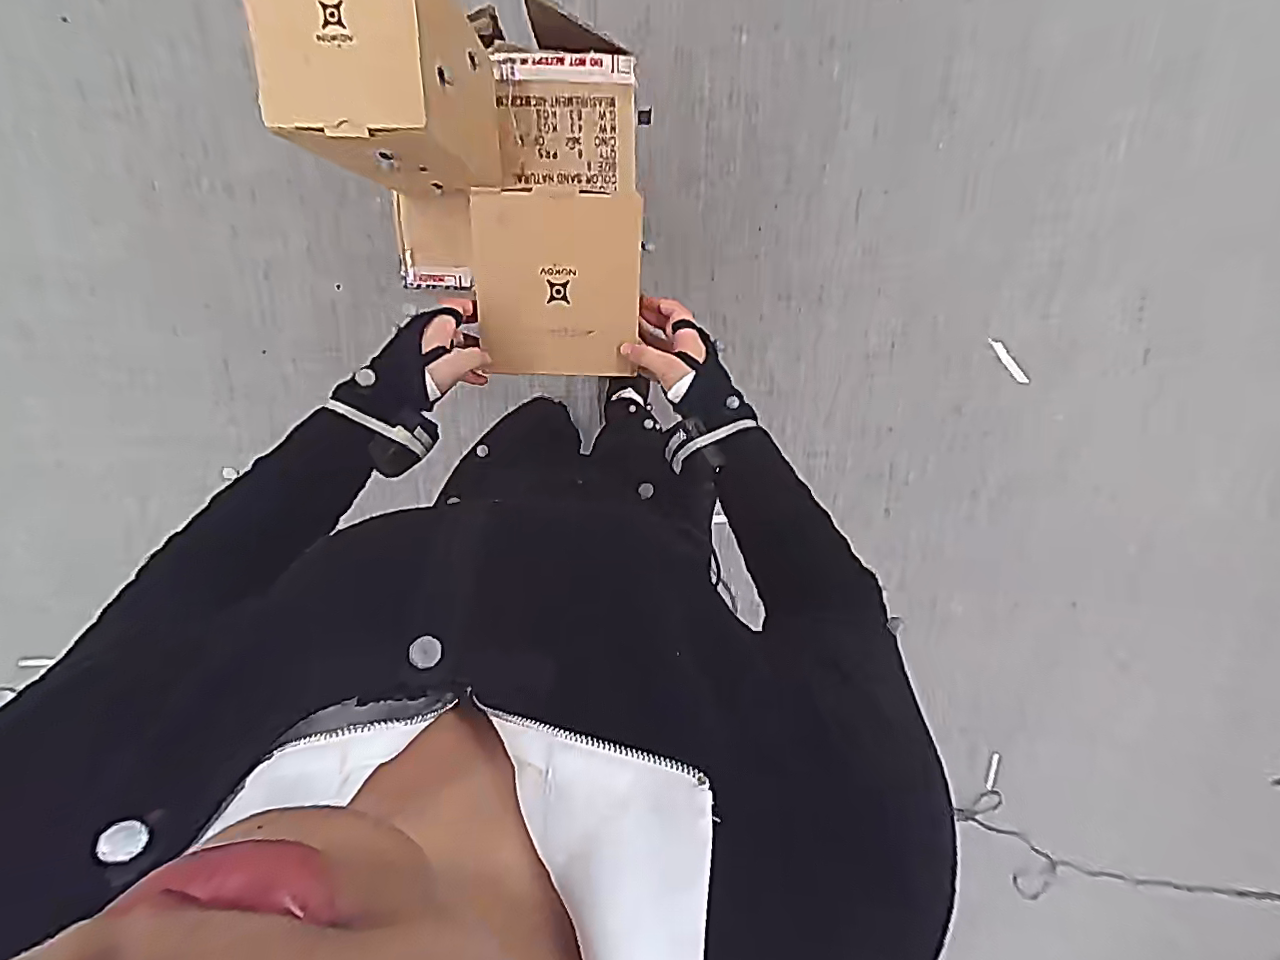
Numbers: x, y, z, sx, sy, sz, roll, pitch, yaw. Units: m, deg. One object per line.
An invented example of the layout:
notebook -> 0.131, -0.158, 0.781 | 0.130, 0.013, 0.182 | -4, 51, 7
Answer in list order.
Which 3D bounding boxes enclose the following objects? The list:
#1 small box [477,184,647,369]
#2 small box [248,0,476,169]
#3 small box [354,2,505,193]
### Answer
small box -> -0.077, -0.228, 0.620 | 0.168, 0.176, 0.179 | 0, 112, 0
small box -> -0.288, -0.455, 0.594 | 0.168, 0.176, 0.179 | 0, 108, 0
small box -> -0.293, -0.513, 0.749 | 0.168, 0.176, 0.179 | -1, 108, 1
